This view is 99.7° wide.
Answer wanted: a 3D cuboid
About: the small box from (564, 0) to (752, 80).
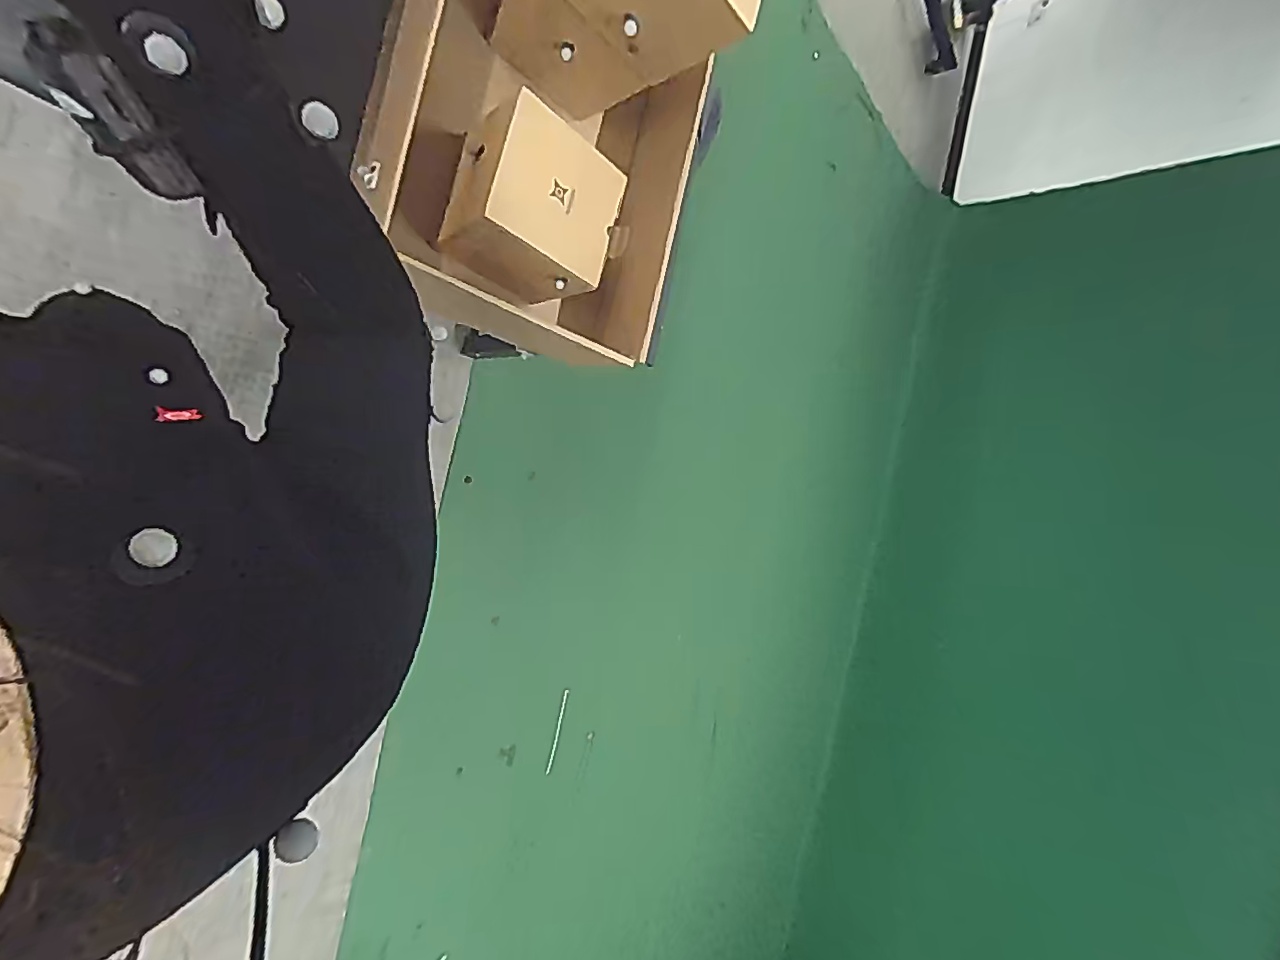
[{"bbox_3d":[0.028,-0.627,0.630,0.168,0.176,0.179,14,90,-45],"label":"small box"}]
